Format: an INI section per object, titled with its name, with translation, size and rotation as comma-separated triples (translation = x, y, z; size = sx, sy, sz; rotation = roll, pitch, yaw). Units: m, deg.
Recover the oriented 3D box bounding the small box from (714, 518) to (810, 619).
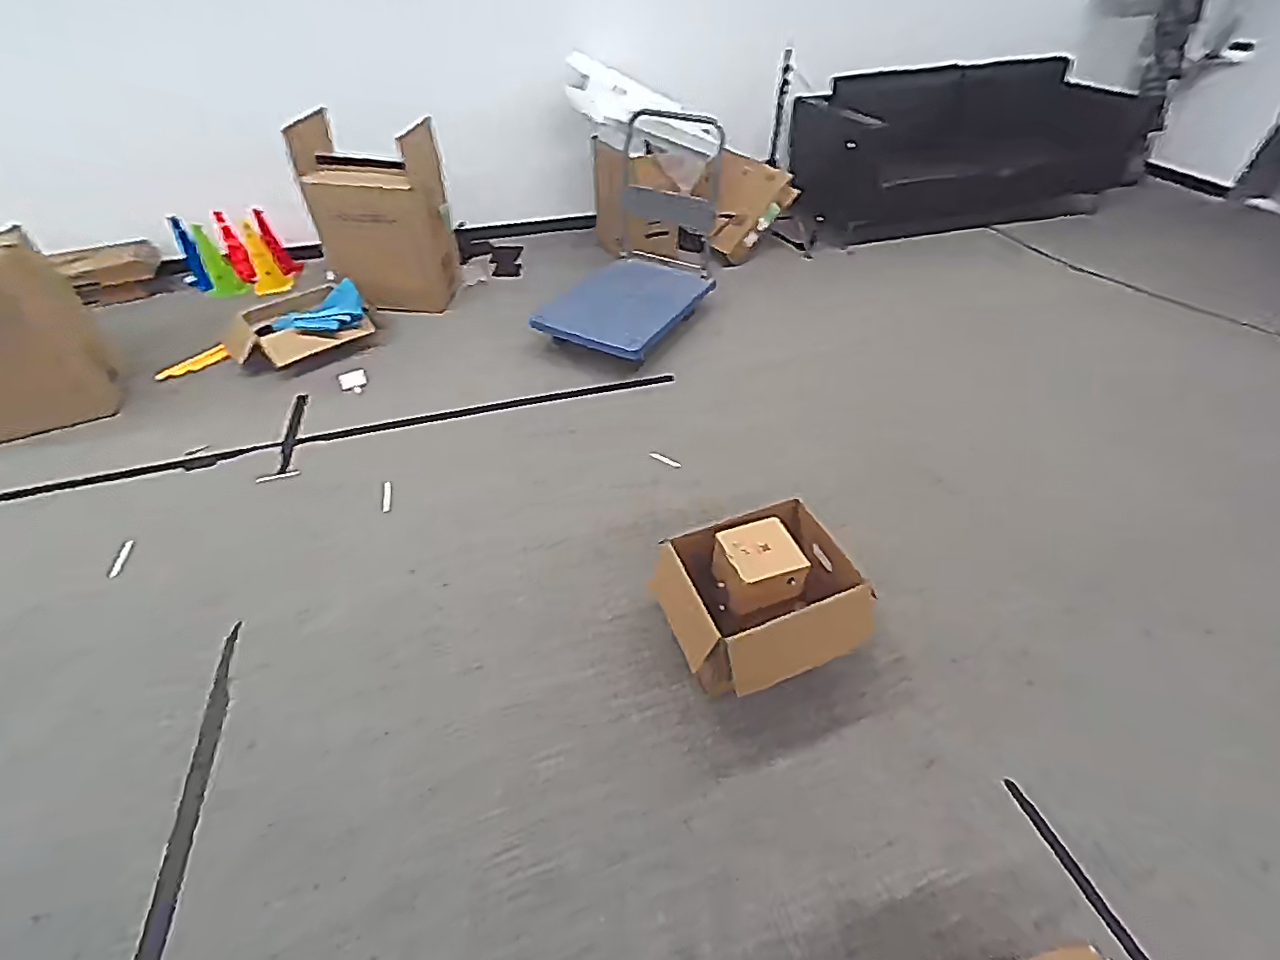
[small box]
translation = 0.302, 0.227, 1.385
size = 0.179, 0.176, 0.168
rotation = -14, 45, -13
